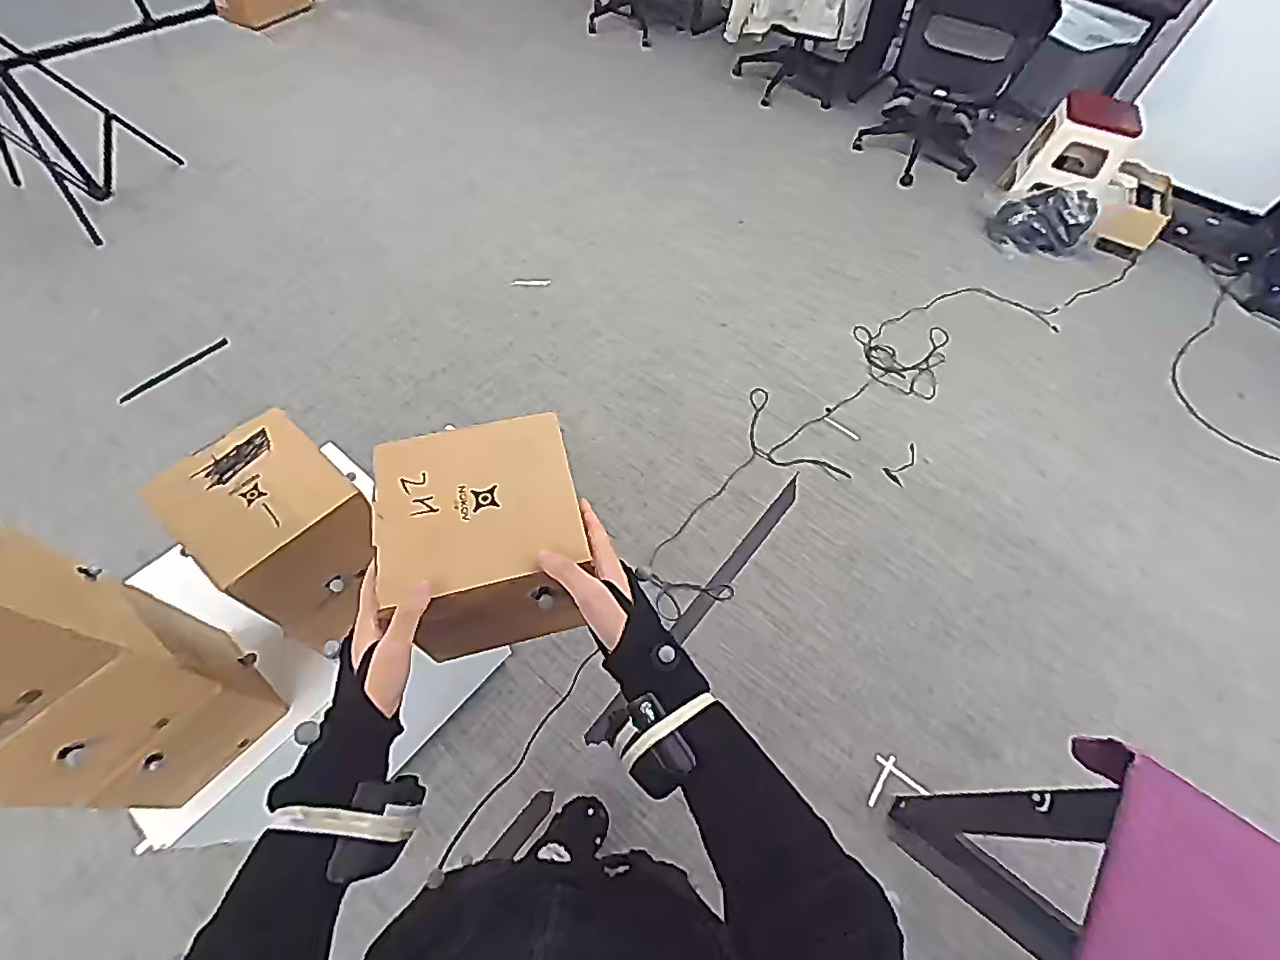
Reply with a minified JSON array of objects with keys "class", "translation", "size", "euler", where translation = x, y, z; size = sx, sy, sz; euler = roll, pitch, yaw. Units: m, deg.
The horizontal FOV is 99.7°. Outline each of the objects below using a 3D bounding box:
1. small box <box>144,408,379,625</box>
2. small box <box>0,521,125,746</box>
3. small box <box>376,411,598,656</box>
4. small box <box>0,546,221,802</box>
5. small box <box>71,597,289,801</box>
[{"class":"small box","translation":[-0.436,0.052,0.671],"size":[0.179,0.176,0.168],"euler":[38,64,16]},{"class":"small box","translation":[-0.589,0.119,0.429],"size":[0.179,0.176,0.168],"euler":[35,63,16]},{"class":"small box","translation":[-0.142,0.059,0.541],"size":[0.179,0.176,0.168],"euler":[-13,59,-9]},{"class":"small box","translation":[-0.600,0.206,0.566],"size":[0.179,0.176,0.168],"euler":[35,62,17]},{"class":"small box","translation":[-0.612,0.290,0.704],"size":[0.179,0.176,0.168],"euler":[36,63,18]}]
